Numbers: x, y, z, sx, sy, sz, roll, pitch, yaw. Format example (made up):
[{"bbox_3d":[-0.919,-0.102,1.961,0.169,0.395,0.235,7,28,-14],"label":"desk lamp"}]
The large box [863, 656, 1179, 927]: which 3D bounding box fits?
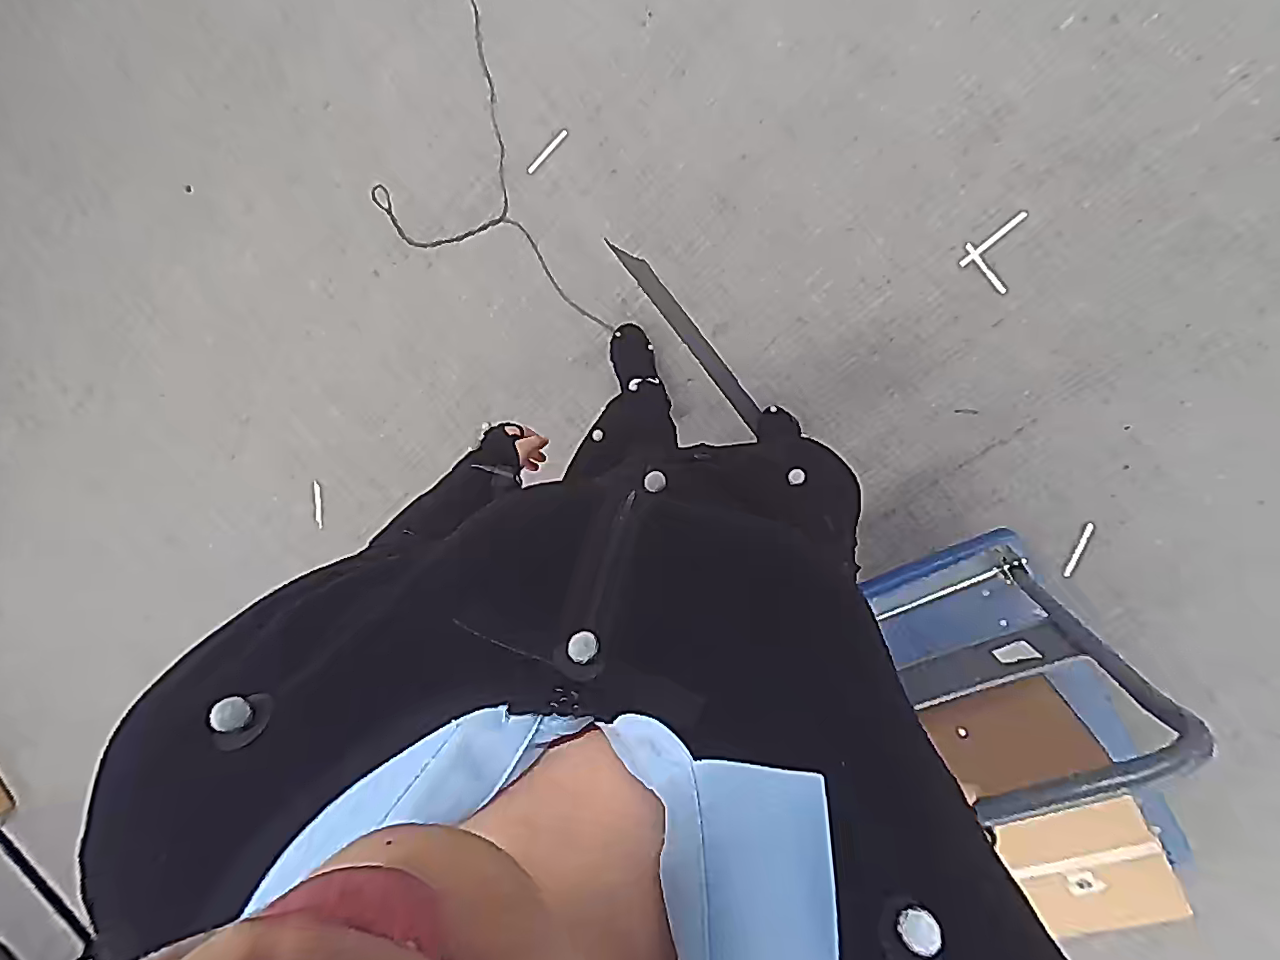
[{"bbox_3d":[0.755,0.643,1.153,0.408,0.320,0.320,-29,94,18],"label":"large box"}]
